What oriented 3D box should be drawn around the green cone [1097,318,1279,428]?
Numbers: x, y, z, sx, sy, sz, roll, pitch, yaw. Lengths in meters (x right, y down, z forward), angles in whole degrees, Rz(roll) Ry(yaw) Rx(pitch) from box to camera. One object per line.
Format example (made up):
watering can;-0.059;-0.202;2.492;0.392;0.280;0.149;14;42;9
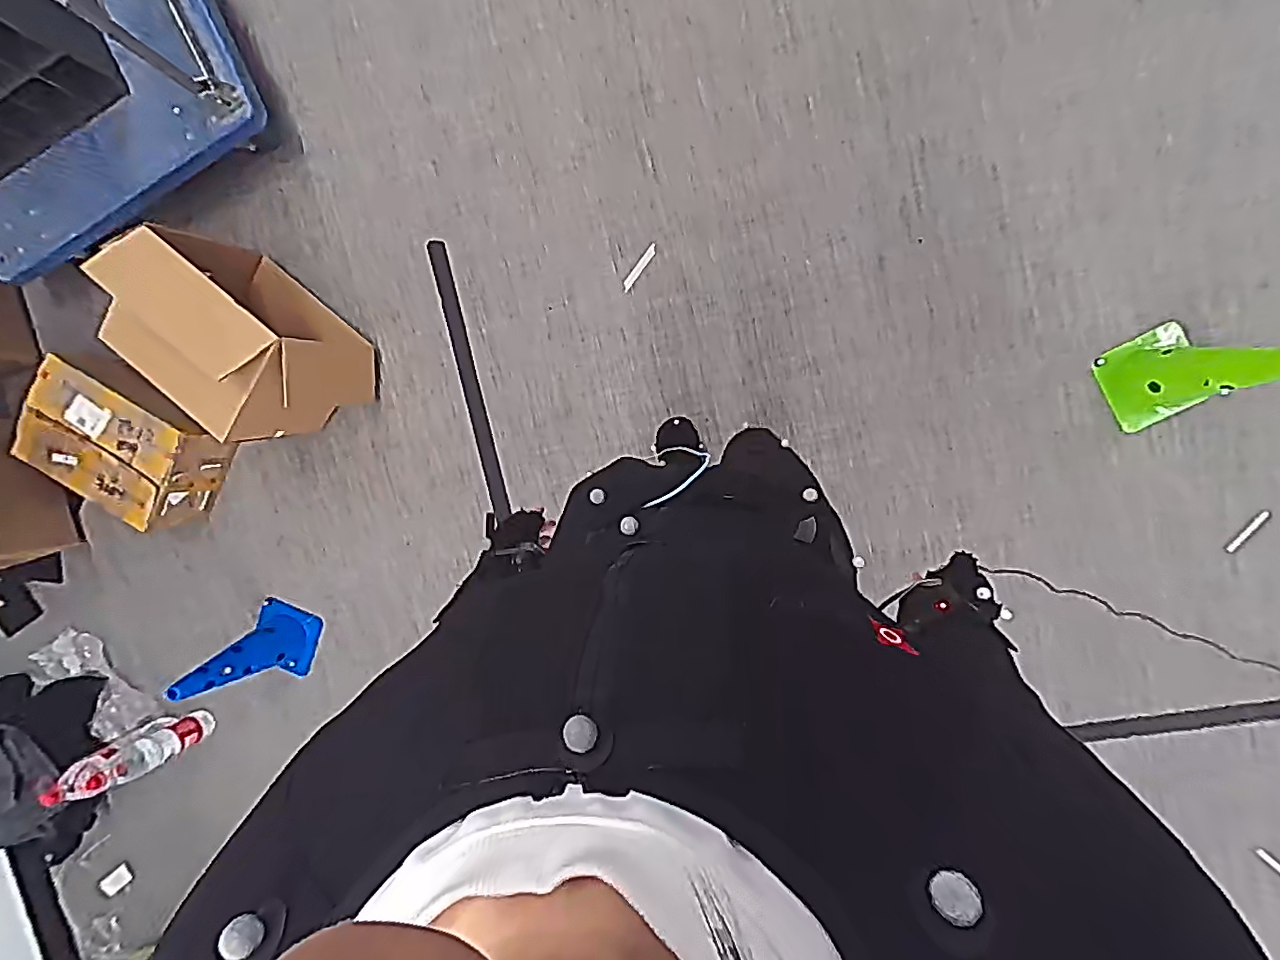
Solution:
green cone;1.173;-0.228;1.081;0.202;0.368;0.200;-29;92;8
